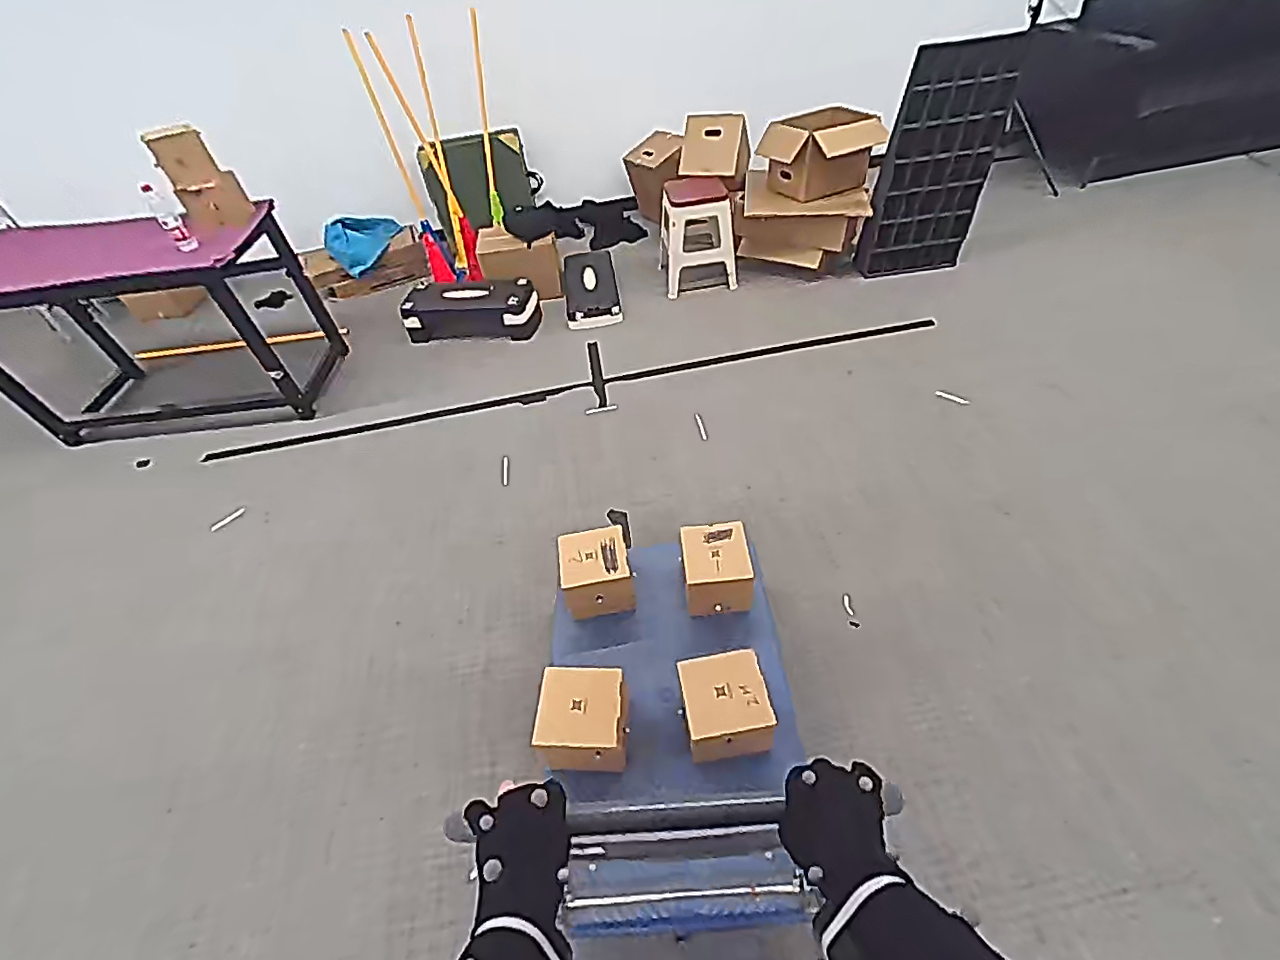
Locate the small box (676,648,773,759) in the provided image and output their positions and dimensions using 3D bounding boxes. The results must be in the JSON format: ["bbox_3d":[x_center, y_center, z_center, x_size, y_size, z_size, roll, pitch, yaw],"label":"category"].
[{"bbox_3d":[0.183,0.498,1.196,0.179,0.176,0.168,-10,48,-1],"label":"small box"}]

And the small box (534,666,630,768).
[{"bbox_3d":[-0.121,0.530,1.205,0.179,0.176,0.168,-1,47,5],"label":"small box"}]

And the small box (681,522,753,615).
[{"bbox_3d":[0.197,0.236,1.433,0.168,0.176,0.179,-6,48,2],"label":"small box"}]
